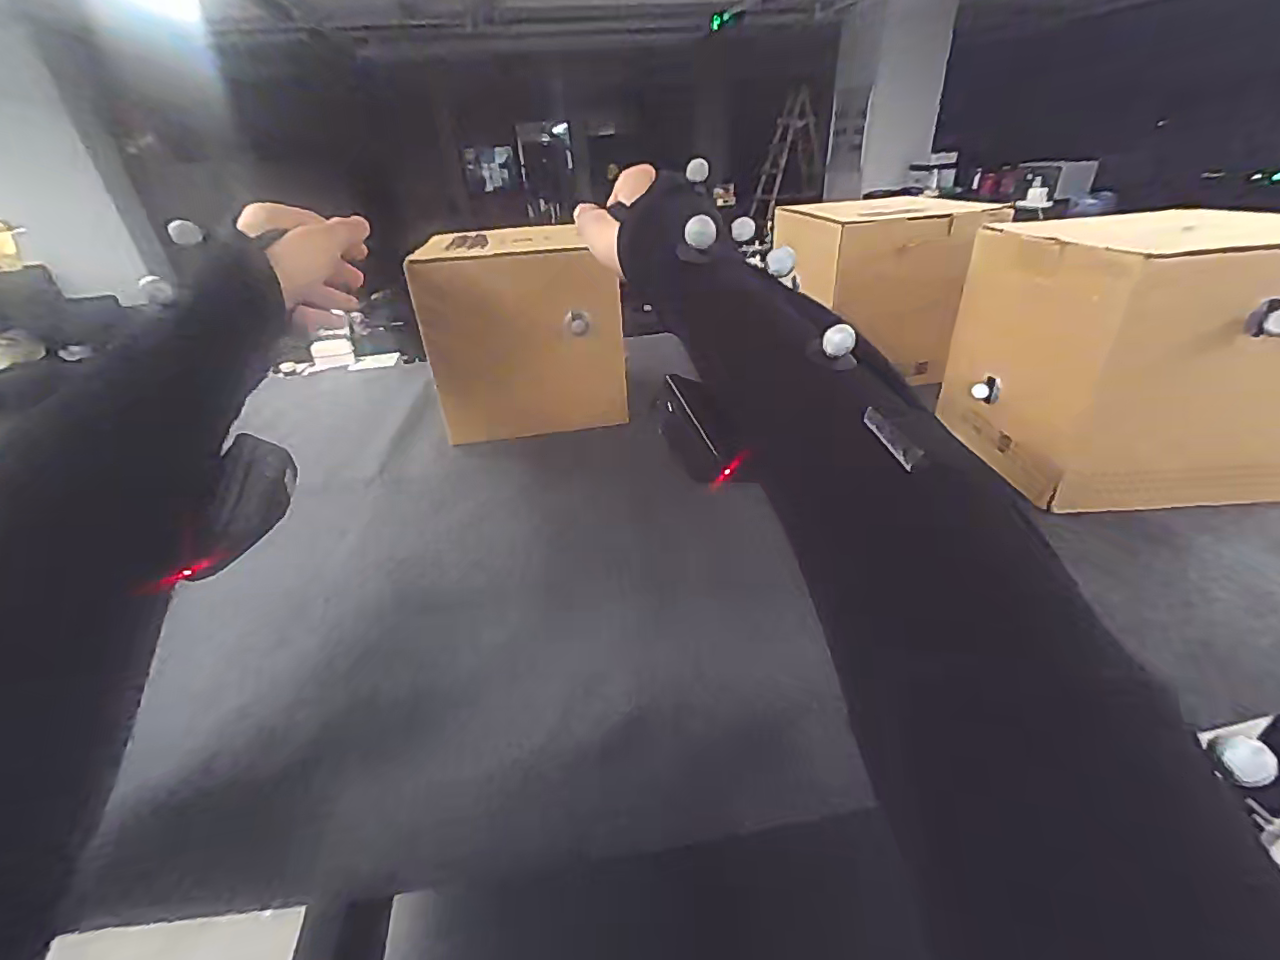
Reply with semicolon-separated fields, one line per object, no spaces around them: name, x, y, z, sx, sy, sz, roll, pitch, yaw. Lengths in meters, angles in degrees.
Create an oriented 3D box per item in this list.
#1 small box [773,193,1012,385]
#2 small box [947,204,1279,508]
small box;0.255;-0.209;0.595;0.168;0.176;0.179;-7;30;-4
small box;0.358;-0.093;0.388;0.179;0.176;0.168;-4;29;2
